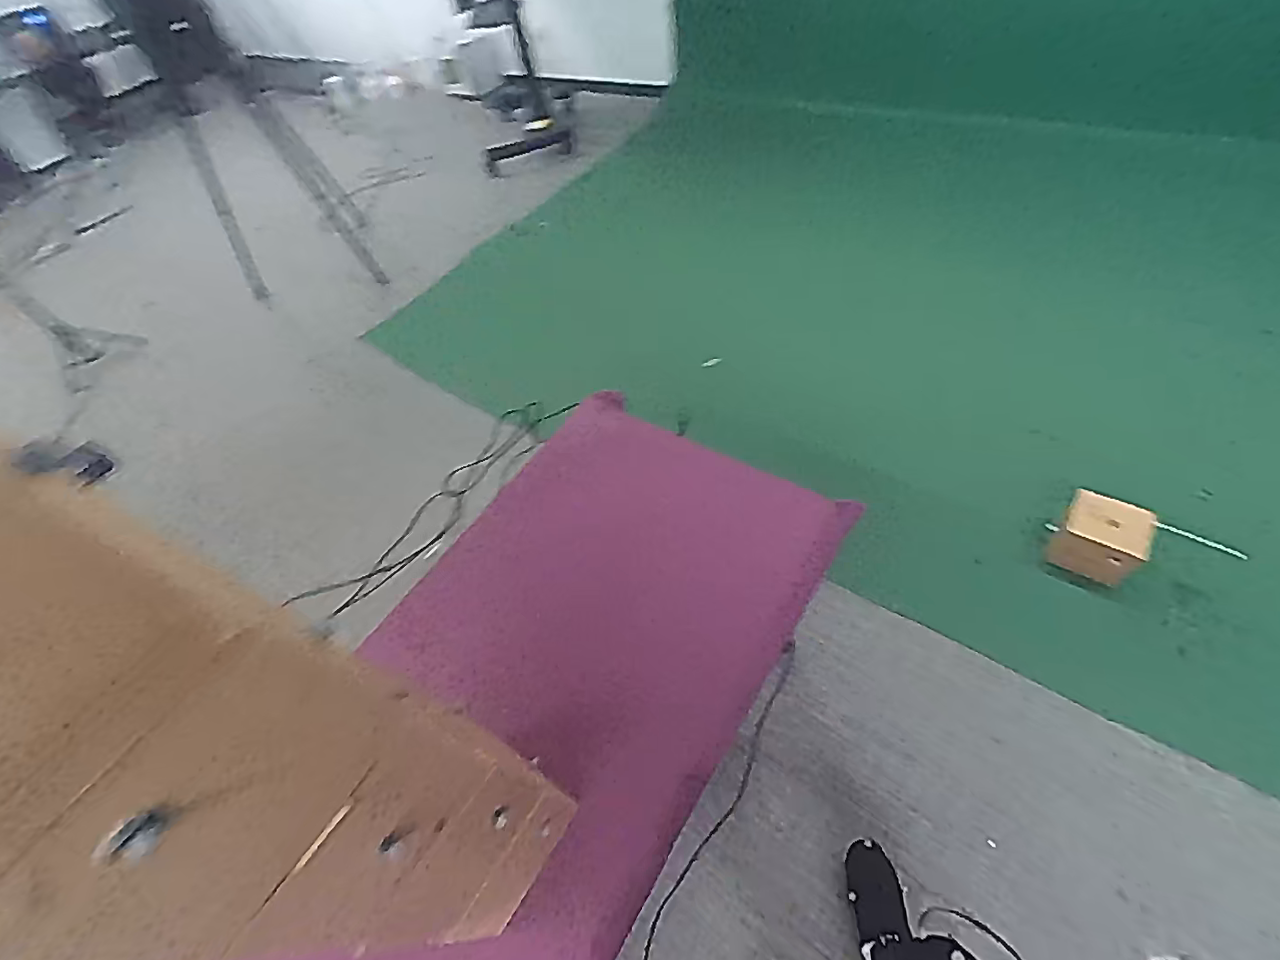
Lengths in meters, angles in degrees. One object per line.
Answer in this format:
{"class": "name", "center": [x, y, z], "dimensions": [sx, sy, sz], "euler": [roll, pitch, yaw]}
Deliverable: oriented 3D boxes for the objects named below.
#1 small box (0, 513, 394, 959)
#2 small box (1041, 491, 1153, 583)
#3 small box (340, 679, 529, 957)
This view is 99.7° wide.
{"class": "small box", "center": [-0.297, 0.157, 0.331], "dimensions": [0.168, 0.176, 0.179], "euler": [23, 60, 26]}
{"class": "small box", "center": [1.293, 0.169, 1.536], "dimensions": [0.179, 0.176, 0.168], "euler": [25, 62, 27]}
{"class": "small box", "center": [-0.242, 0.356, 0.586], "dimensions": [0.168, 0.176, 0.179], "euler": [24, 62, 27]}
